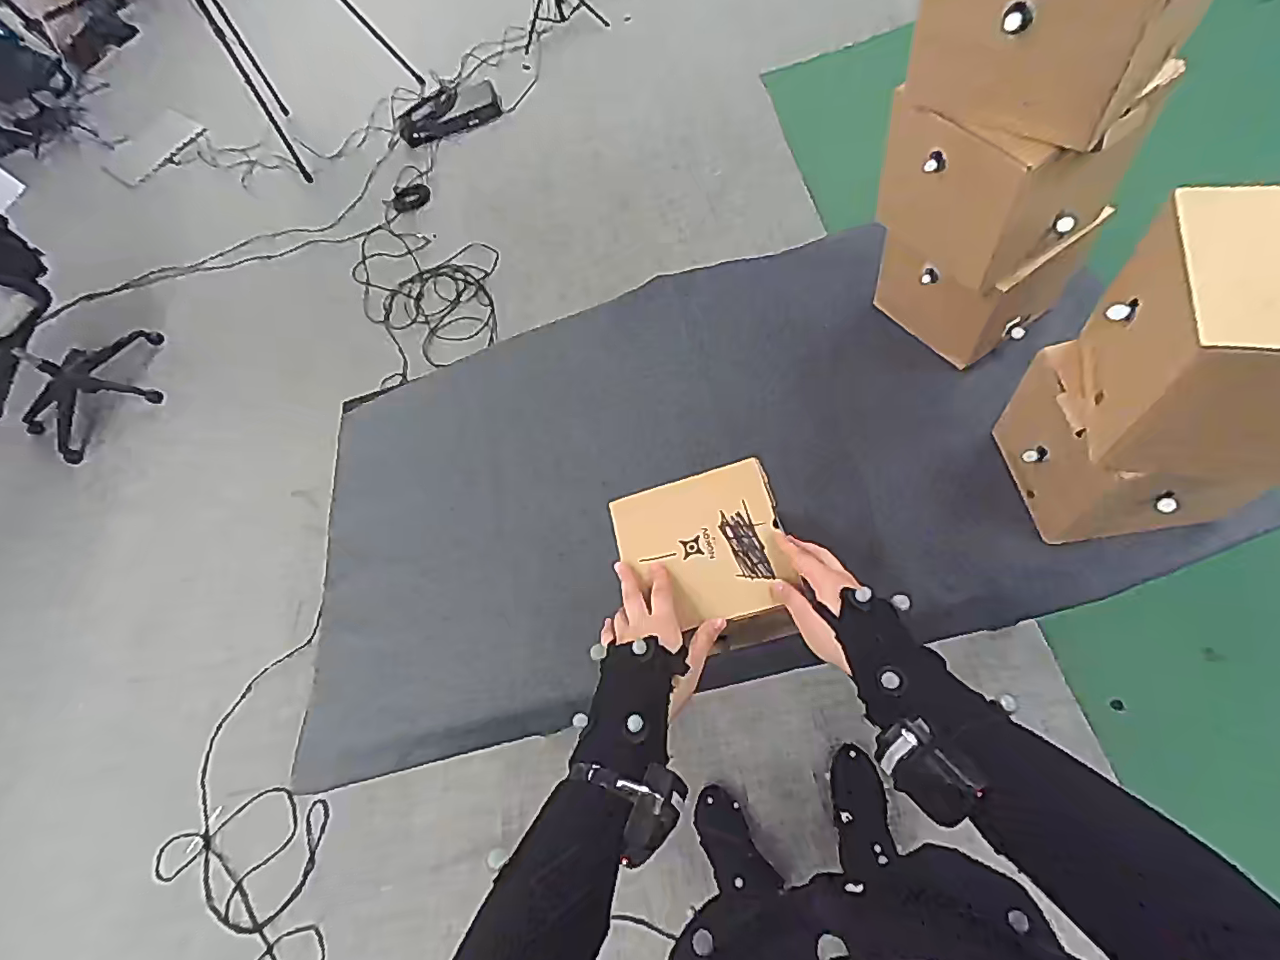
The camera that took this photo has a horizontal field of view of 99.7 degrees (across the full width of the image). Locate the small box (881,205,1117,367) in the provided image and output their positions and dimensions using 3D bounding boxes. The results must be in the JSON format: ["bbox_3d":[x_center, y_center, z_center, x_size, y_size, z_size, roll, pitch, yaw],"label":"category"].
[{"bbox_3d":[0.452,-0.287,0.721,0.168,0.176,0.179,-37,64,-1],"label":"small box"}]

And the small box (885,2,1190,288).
[{"bbox_3d":[0.390,-0.345,0.578,0.168,0.176,0.179,-33,62,2],"label":"small box"}]

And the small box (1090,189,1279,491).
[{"bbox_3d":[0.498,-0.105,0.434,0.179,0.176,0.168,9,65,19],"label":"small box"}]

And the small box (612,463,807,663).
[{"bbox_3d":[0.084,0.107,0.635,0.179,0.176,0.168,-17,62,9],"label":"small box"}]

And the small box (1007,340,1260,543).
[{"bbox_3d":[0.531,-0.043,0.583,0.179,0.176,0.168,-11,60,11],"label":"small box"}]
